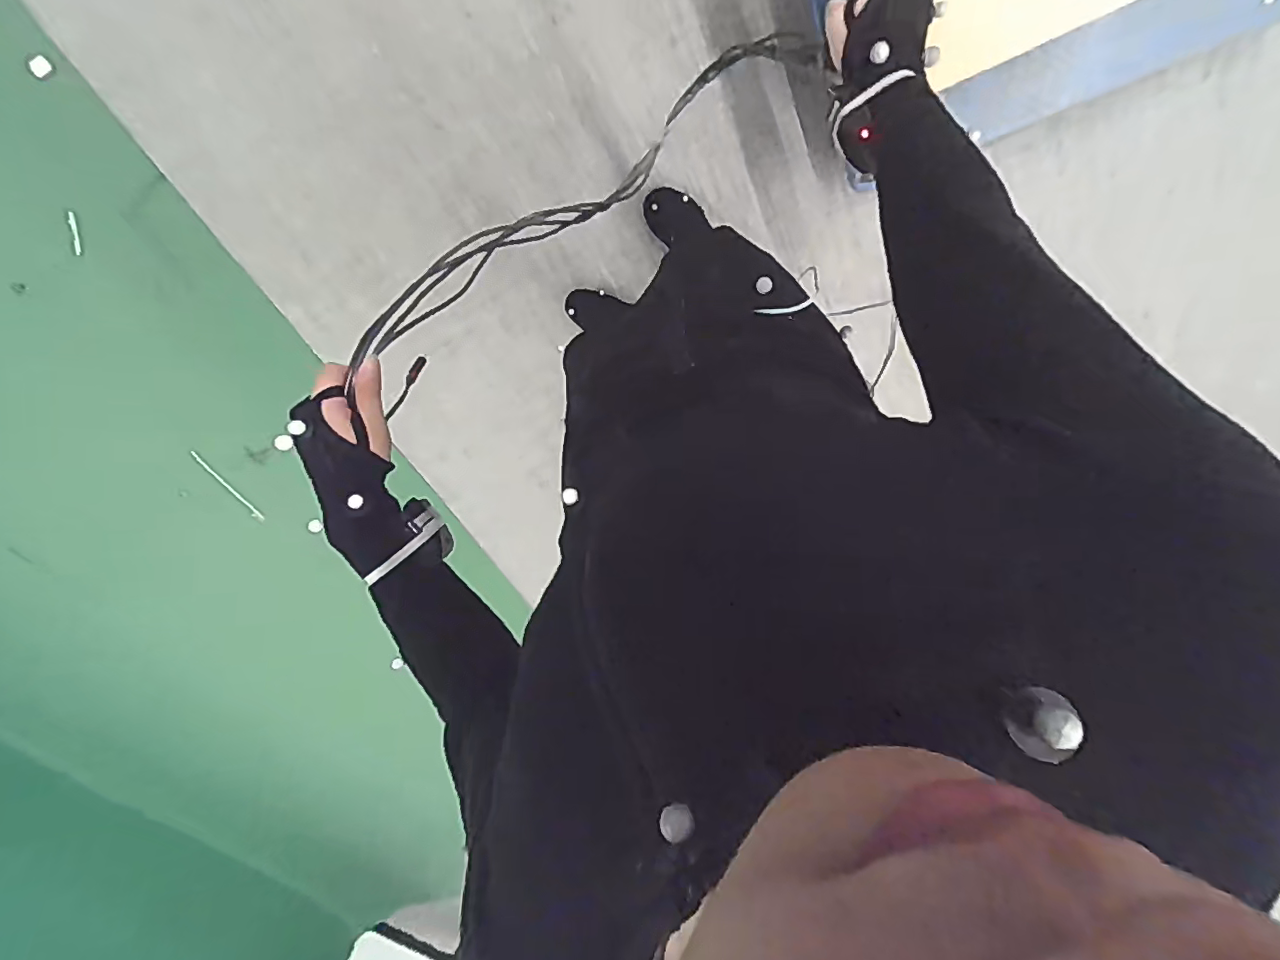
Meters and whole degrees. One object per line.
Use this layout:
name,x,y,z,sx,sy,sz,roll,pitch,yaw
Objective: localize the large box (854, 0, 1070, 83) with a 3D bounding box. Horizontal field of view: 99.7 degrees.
large box,0.536,-0.866,0.800,0.408,0.320,0.320,-17,123,22
